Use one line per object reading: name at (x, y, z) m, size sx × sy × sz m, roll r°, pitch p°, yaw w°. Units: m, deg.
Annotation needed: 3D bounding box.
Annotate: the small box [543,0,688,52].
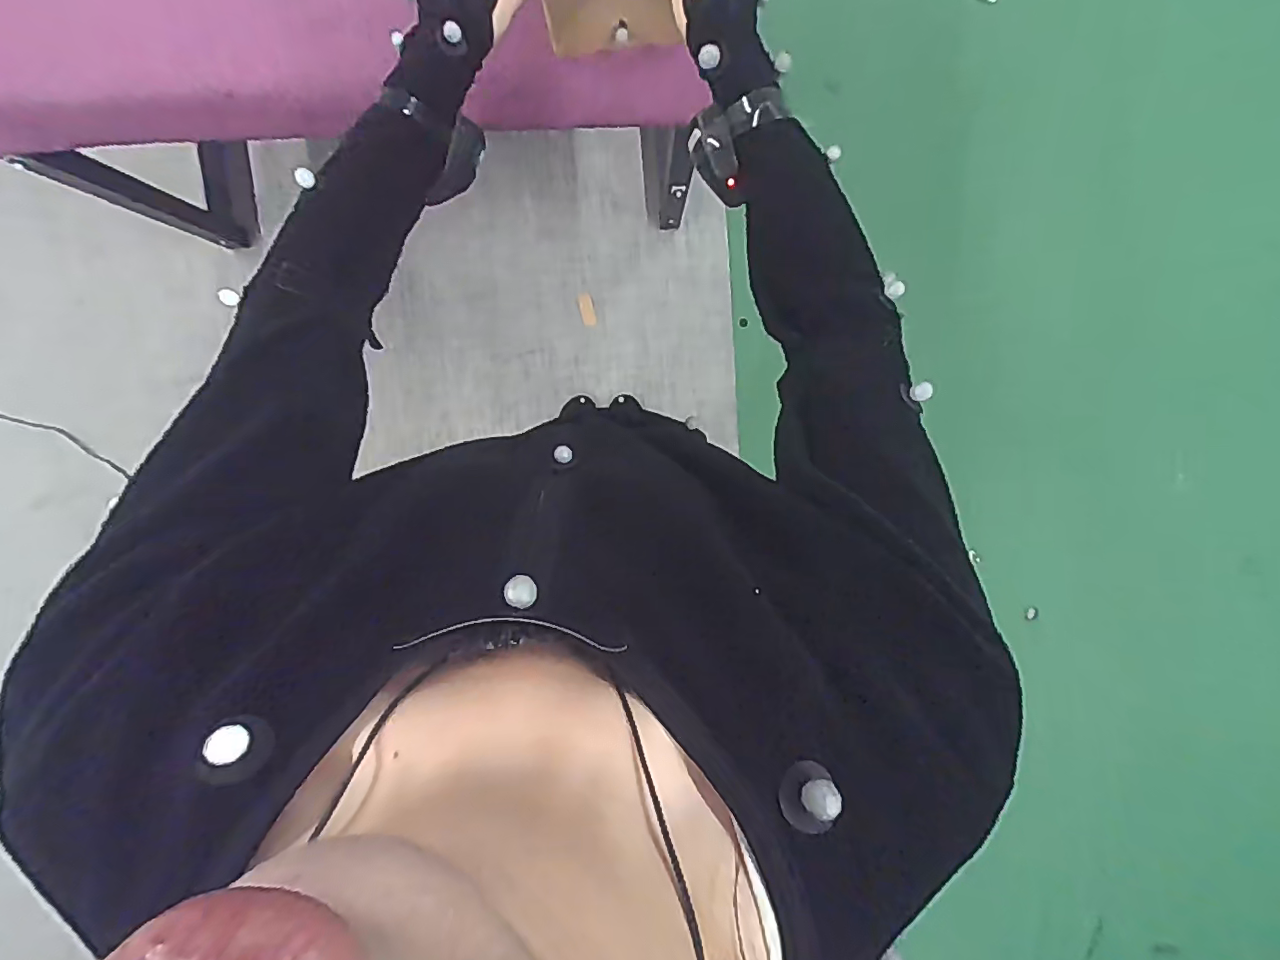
small box at (-0.033, -0.631, 0.612) m, size 0.179 × 0.176 × 0.168 m, roll -7°, pitch 97°, yaw 0°
